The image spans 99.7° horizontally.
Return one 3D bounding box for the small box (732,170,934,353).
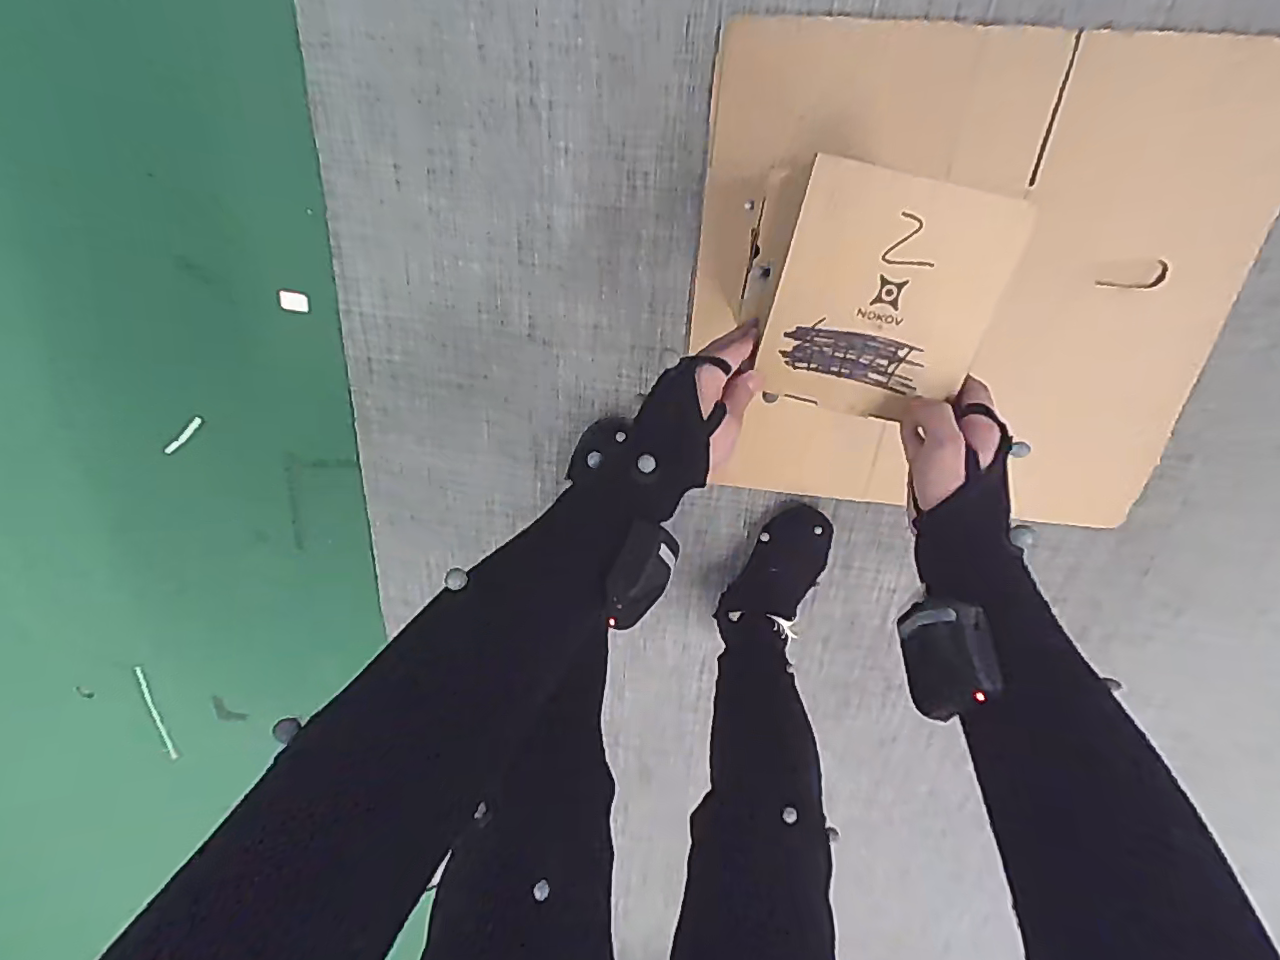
[{"bbox_3d":[0.213,-0.265,0.659,0.179,0.176,0.168,10,116,3],"label":"small box"}]
